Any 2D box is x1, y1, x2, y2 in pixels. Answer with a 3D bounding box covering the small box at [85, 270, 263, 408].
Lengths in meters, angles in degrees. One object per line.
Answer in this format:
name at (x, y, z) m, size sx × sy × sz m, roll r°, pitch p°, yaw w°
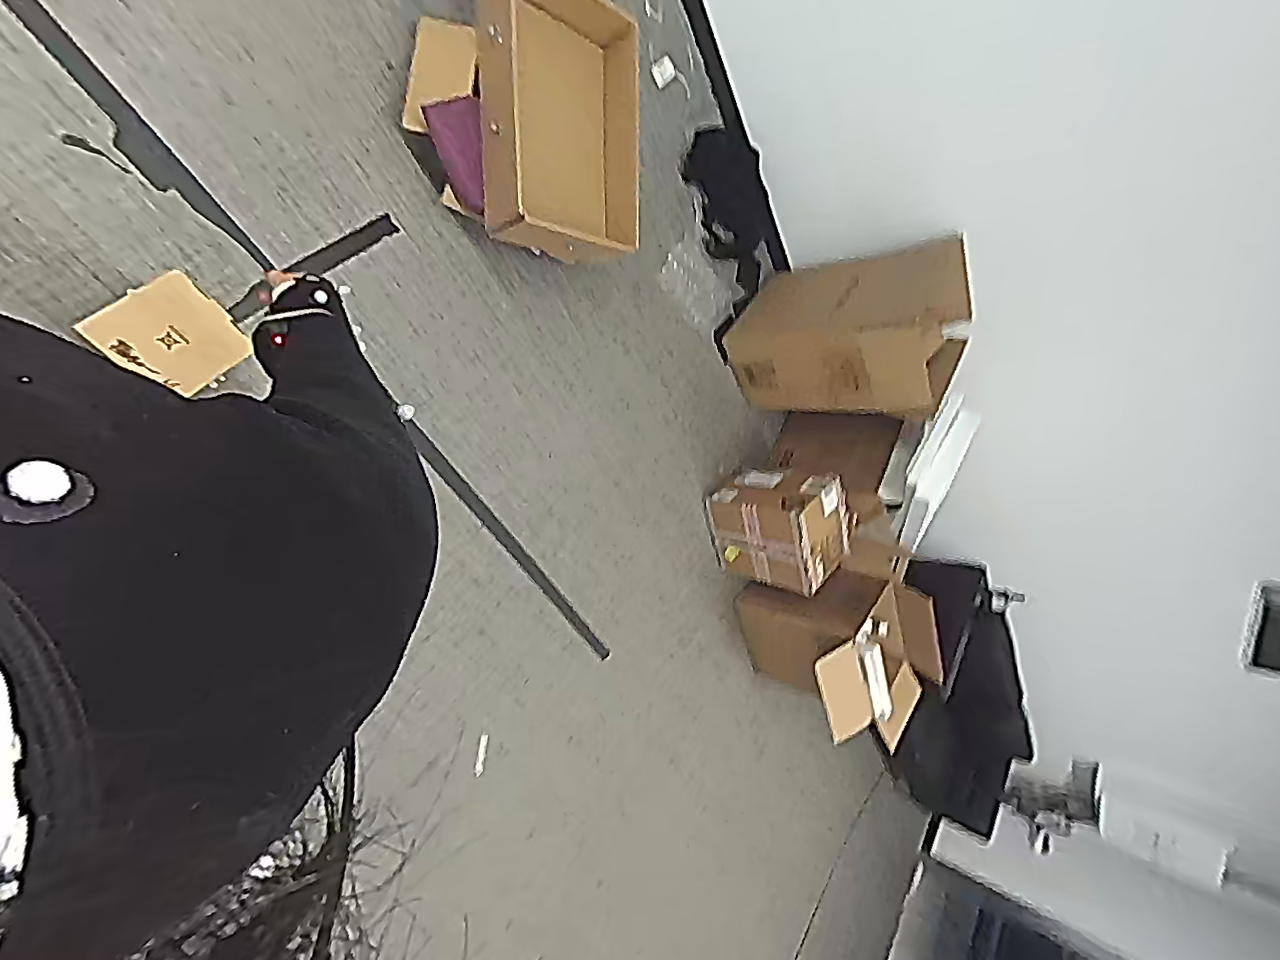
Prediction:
small box at (-0.830, -0.245, 0.965) m, size 0.179 × 0.176 × 0.168 m, roll -53°, pitch 127°, yaw -27°
